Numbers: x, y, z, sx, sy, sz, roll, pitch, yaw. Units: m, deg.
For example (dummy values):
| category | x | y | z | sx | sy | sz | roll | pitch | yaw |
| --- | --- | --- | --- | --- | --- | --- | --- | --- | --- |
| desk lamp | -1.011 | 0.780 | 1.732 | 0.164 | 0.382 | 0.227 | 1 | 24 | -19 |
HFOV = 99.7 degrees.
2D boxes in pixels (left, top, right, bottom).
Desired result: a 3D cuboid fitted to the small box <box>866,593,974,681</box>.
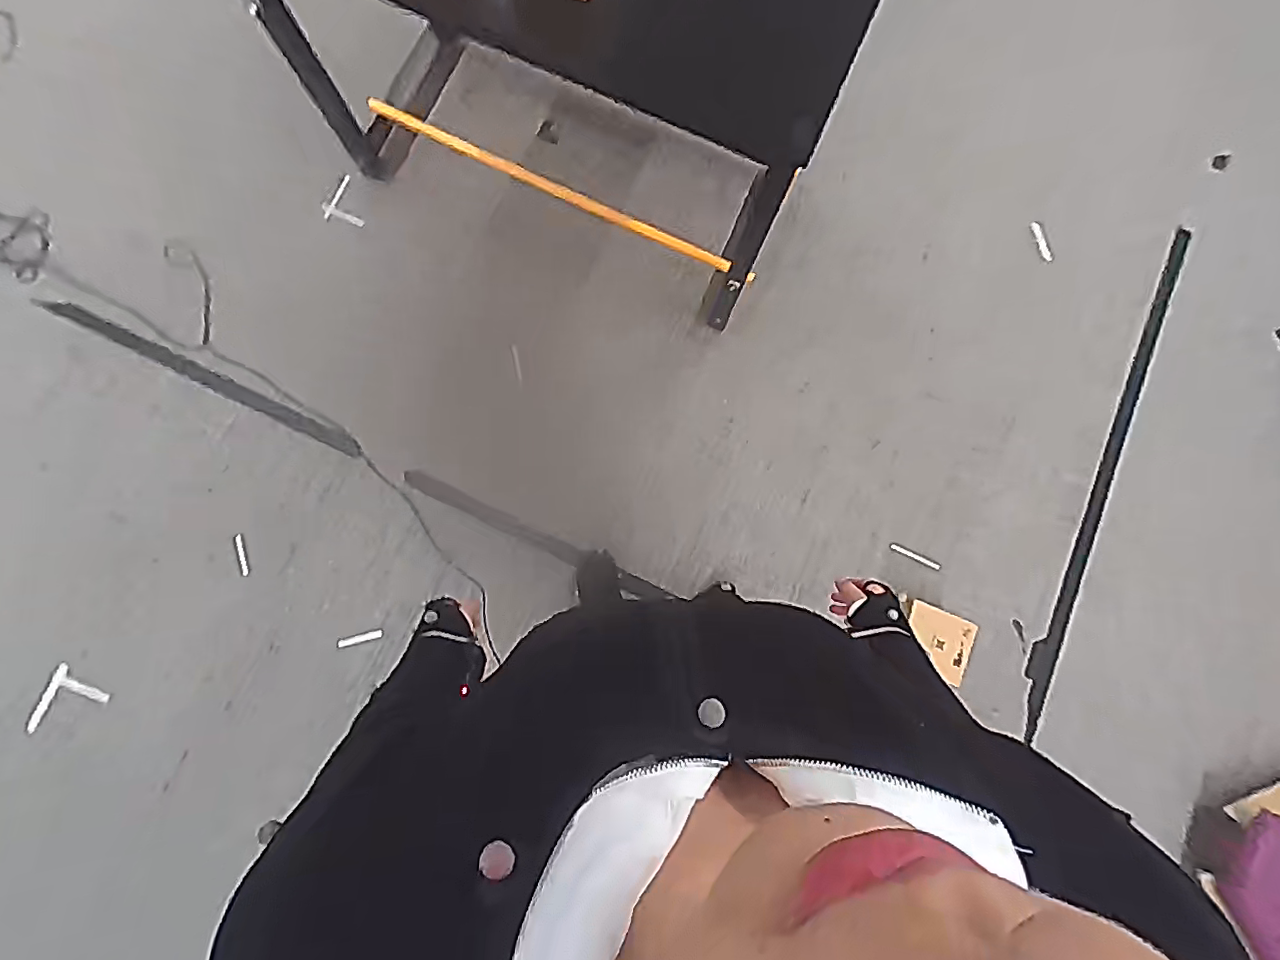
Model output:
| category | x | y | z | sx | sy | sz | roll | pitch | yaw |
| --- | --- | --- | --- | --- | --- | --- | --- | --- | --- |
| small box | 0.735 | 0.408 | 1.440 | 0.179 | 0.176 | 0.168 | 23 | 82 | 1 |
